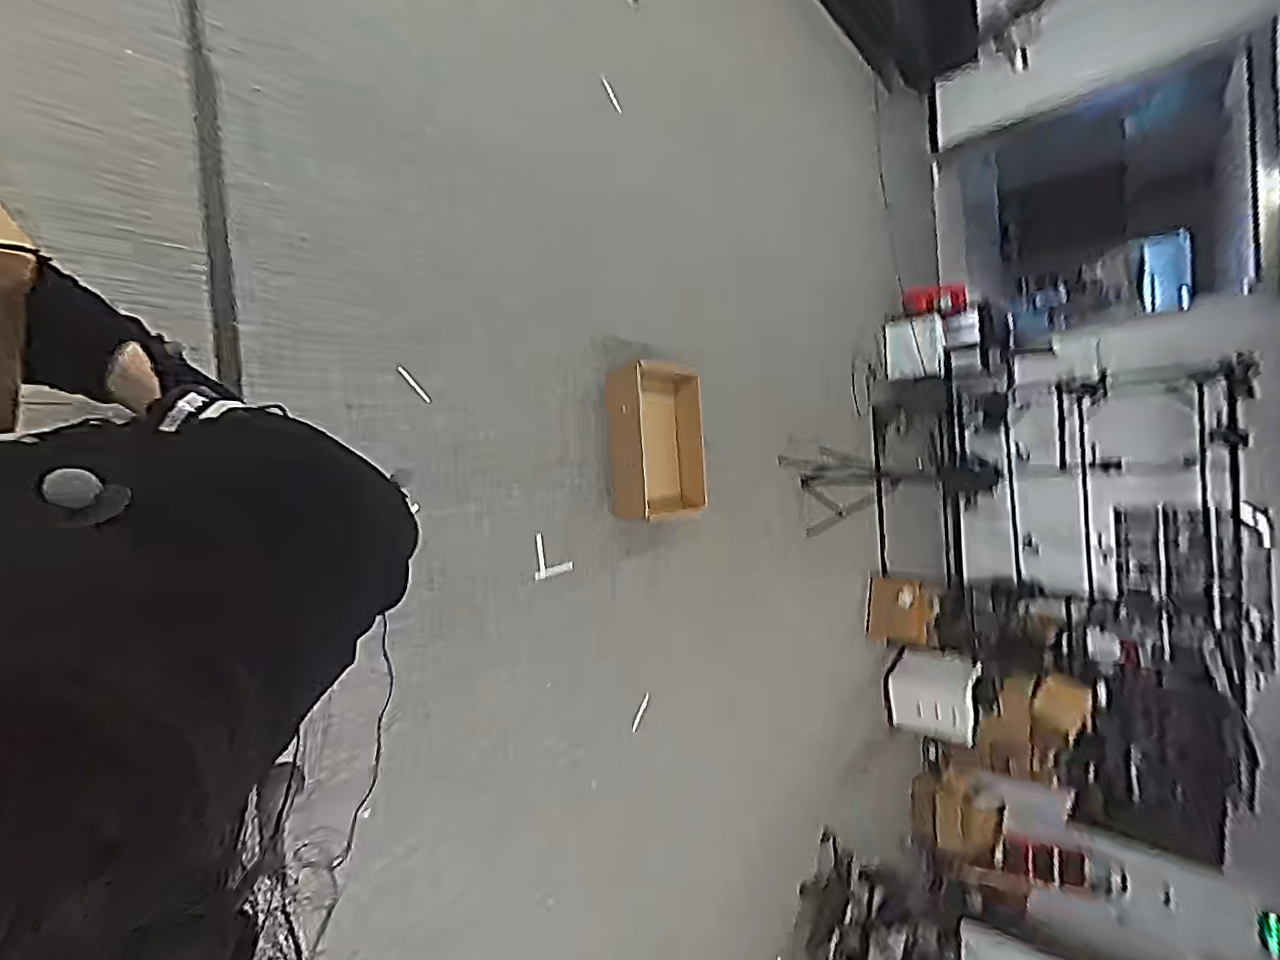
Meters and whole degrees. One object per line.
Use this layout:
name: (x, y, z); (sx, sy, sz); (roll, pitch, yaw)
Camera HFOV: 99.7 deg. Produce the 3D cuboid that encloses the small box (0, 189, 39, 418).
small box: (-0.558, -0.149, 0.360); (0.179, 0.176, 0.168); (43, 23, 14)
